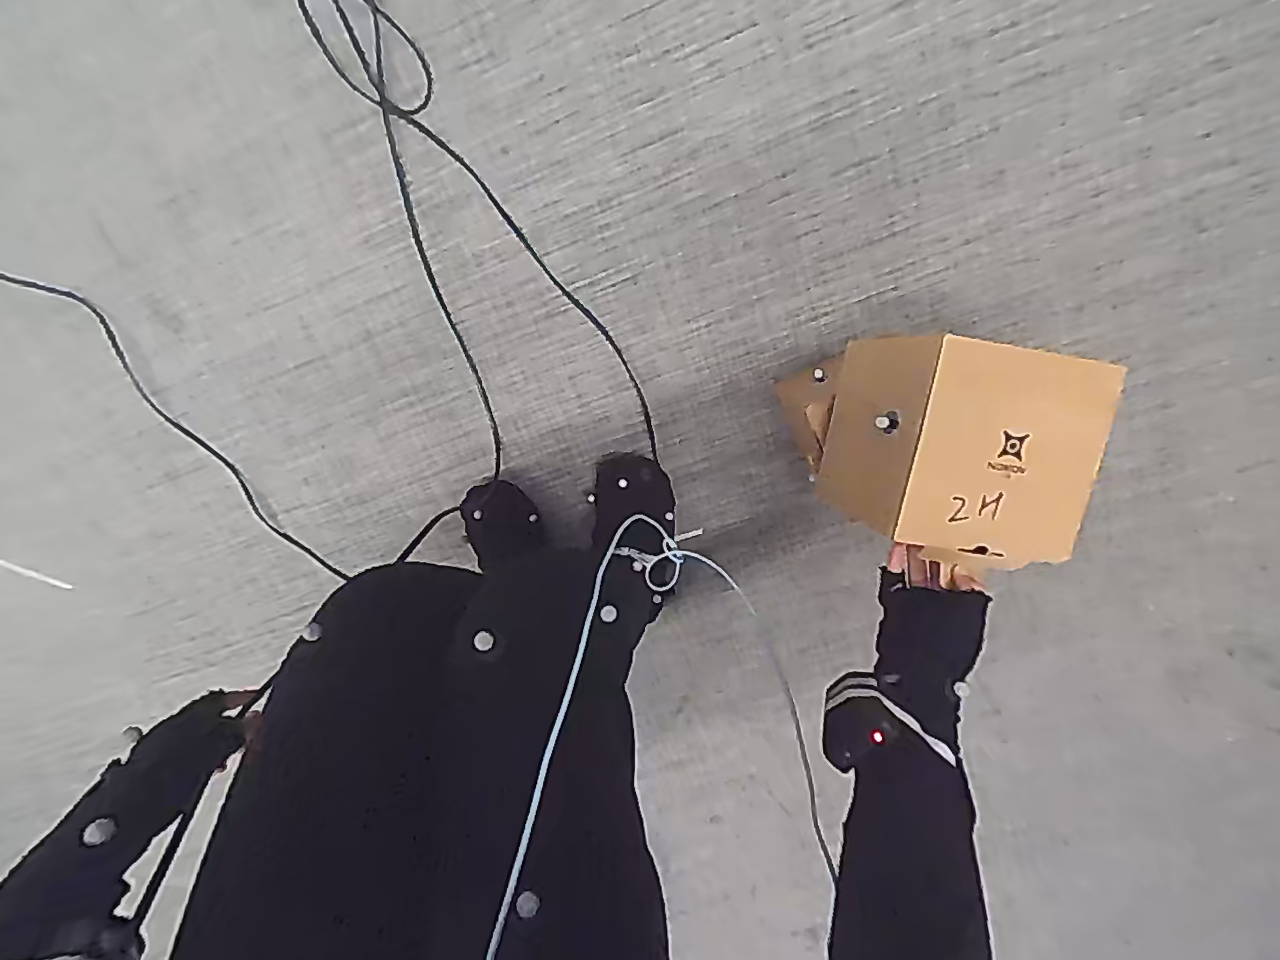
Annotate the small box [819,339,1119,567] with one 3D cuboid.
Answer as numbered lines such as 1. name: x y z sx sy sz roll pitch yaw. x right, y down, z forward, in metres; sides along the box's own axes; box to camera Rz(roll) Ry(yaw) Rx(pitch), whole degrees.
1. small box: 0.297 -0.033 0.531 0.168 0.176 0.179 8 101 -6

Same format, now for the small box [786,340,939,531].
1. small box: 0.301 -0.065 0.691 0.179 0.176 0.168 -24 106 9
